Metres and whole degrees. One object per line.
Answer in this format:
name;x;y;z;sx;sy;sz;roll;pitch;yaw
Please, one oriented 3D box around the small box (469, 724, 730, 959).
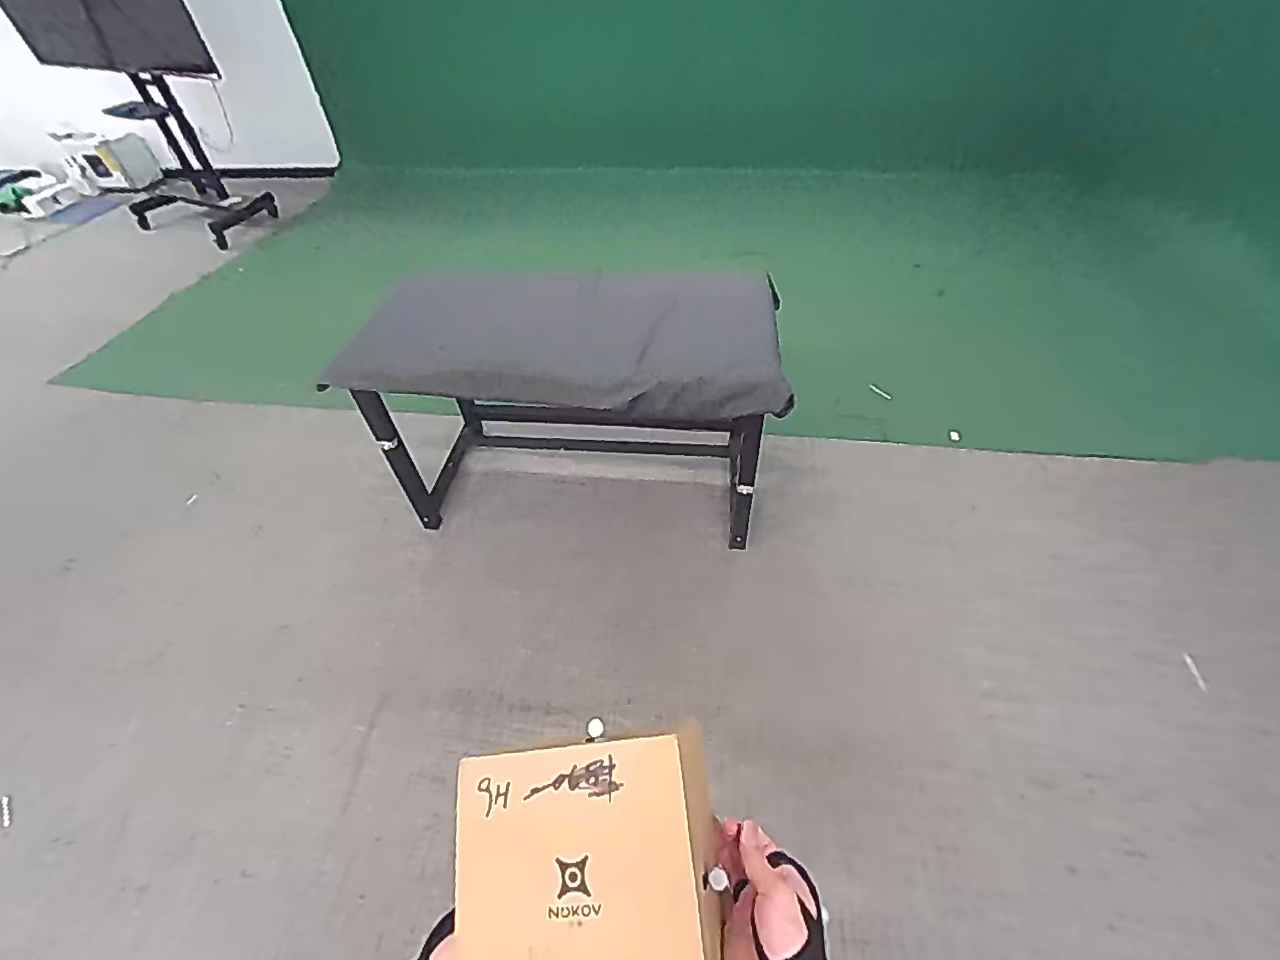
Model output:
small box;-0.023;0.307;0.437;0.168;0.176;0.179;-10;69;7
